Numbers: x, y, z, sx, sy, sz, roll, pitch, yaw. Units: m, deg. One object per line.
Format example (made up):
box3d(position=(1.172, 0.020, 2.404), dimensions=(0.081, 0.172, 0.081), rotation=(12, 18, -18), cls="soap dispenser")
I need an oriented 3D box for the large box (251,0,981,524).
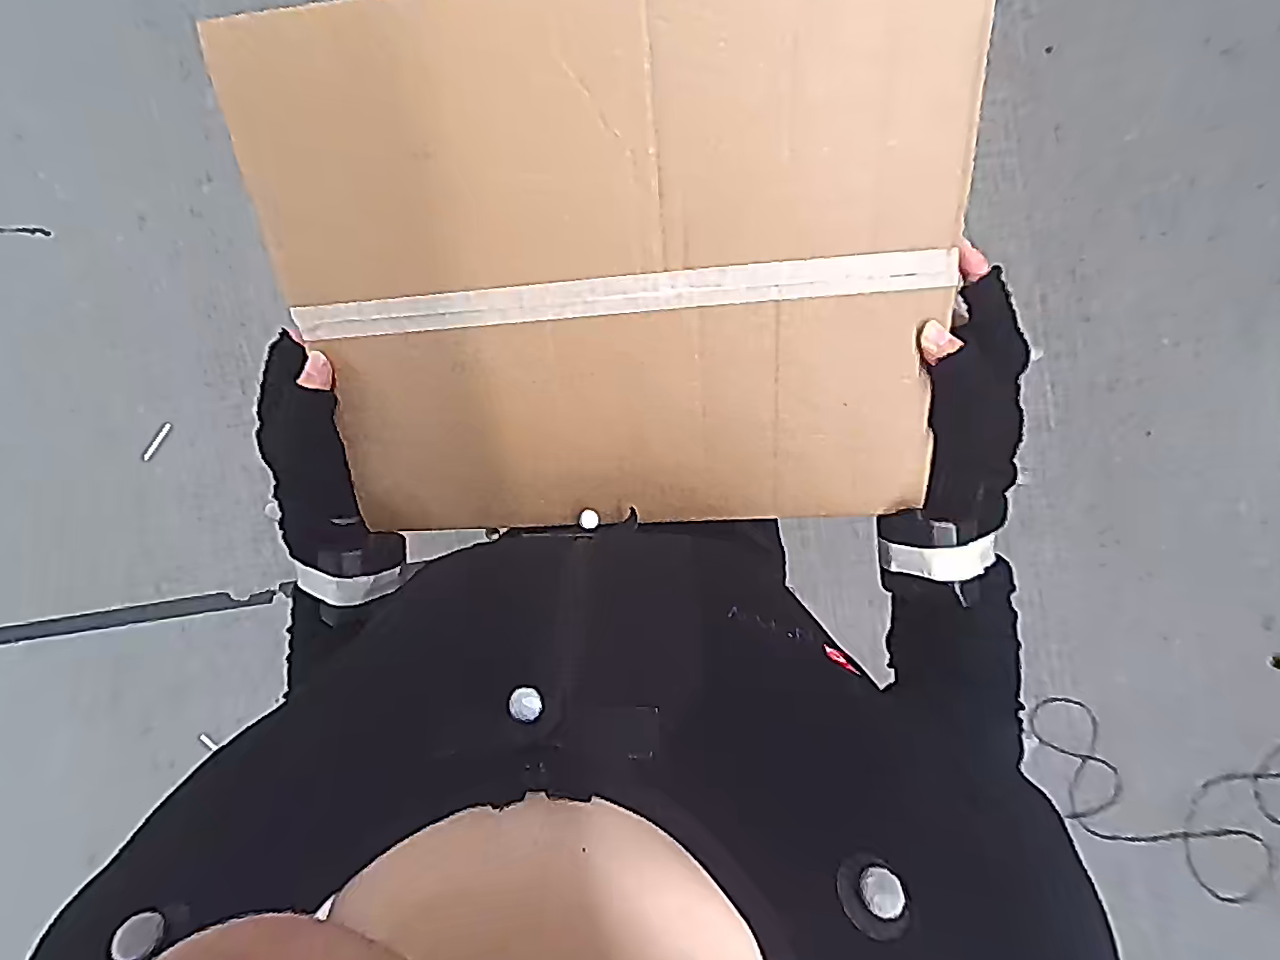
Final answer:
box3d(position=(-0.003, -0.176, 0.479), dimensions=(0.408, 0.320, 0.320), rotation=(-3, 115, 6), cls="large box")
